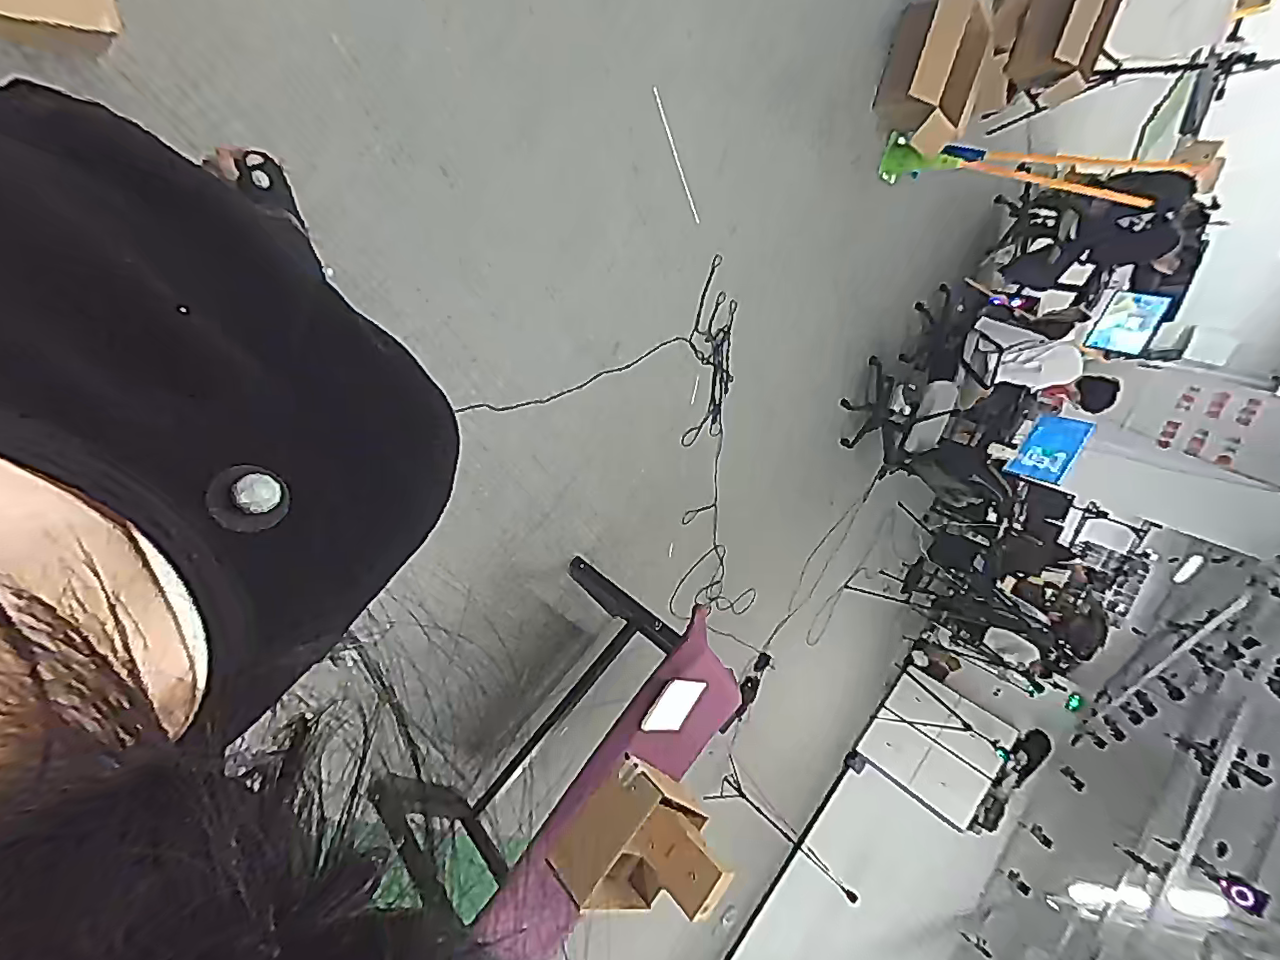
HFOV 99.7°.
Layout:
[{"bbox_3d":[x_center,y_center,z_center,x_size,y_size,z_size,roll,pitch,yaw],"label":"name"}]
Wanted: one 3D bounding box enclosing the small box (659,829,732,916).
[{"bbox_3d":[0.185,1.358,1.872,0.179,0.176,0.168,-51,140,-14],"label":"small box"}]
